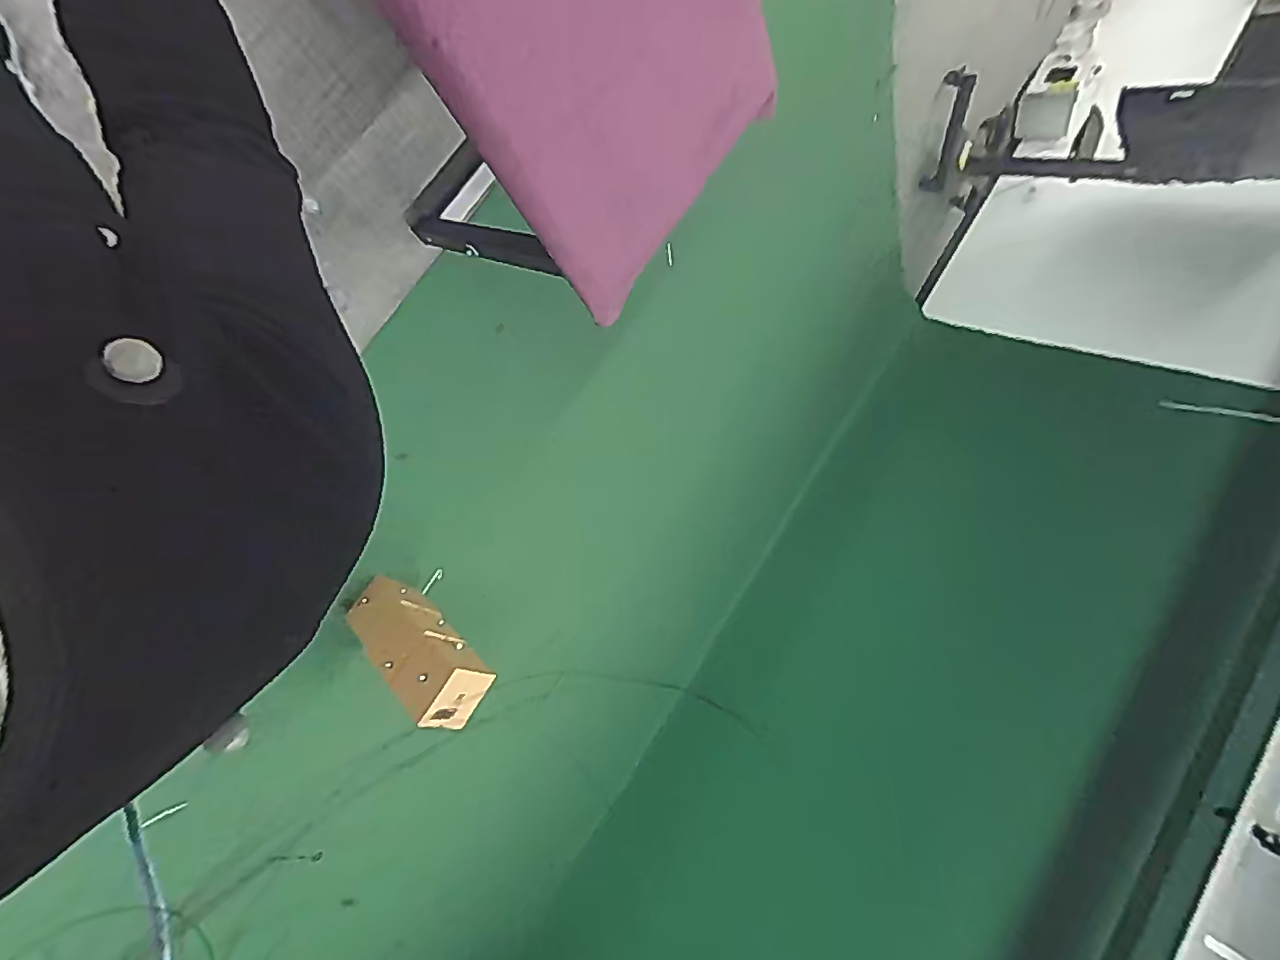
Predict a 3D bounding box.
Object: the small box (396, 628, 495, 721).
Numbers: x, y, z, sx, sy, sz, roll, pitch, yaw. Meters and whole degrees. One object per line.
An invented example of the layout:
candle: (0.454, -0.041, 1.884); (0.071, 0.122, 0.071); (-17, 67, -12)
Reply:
small box: (-0.554, 0.547, 1.522); (0.179, 0.176, 0.168); (-56, 144, -7)

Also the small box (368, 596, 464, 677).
small box: (-0.671, 0.473, 1.613); (0.179, 0.176, 0.168); (-55, 143, -7)
